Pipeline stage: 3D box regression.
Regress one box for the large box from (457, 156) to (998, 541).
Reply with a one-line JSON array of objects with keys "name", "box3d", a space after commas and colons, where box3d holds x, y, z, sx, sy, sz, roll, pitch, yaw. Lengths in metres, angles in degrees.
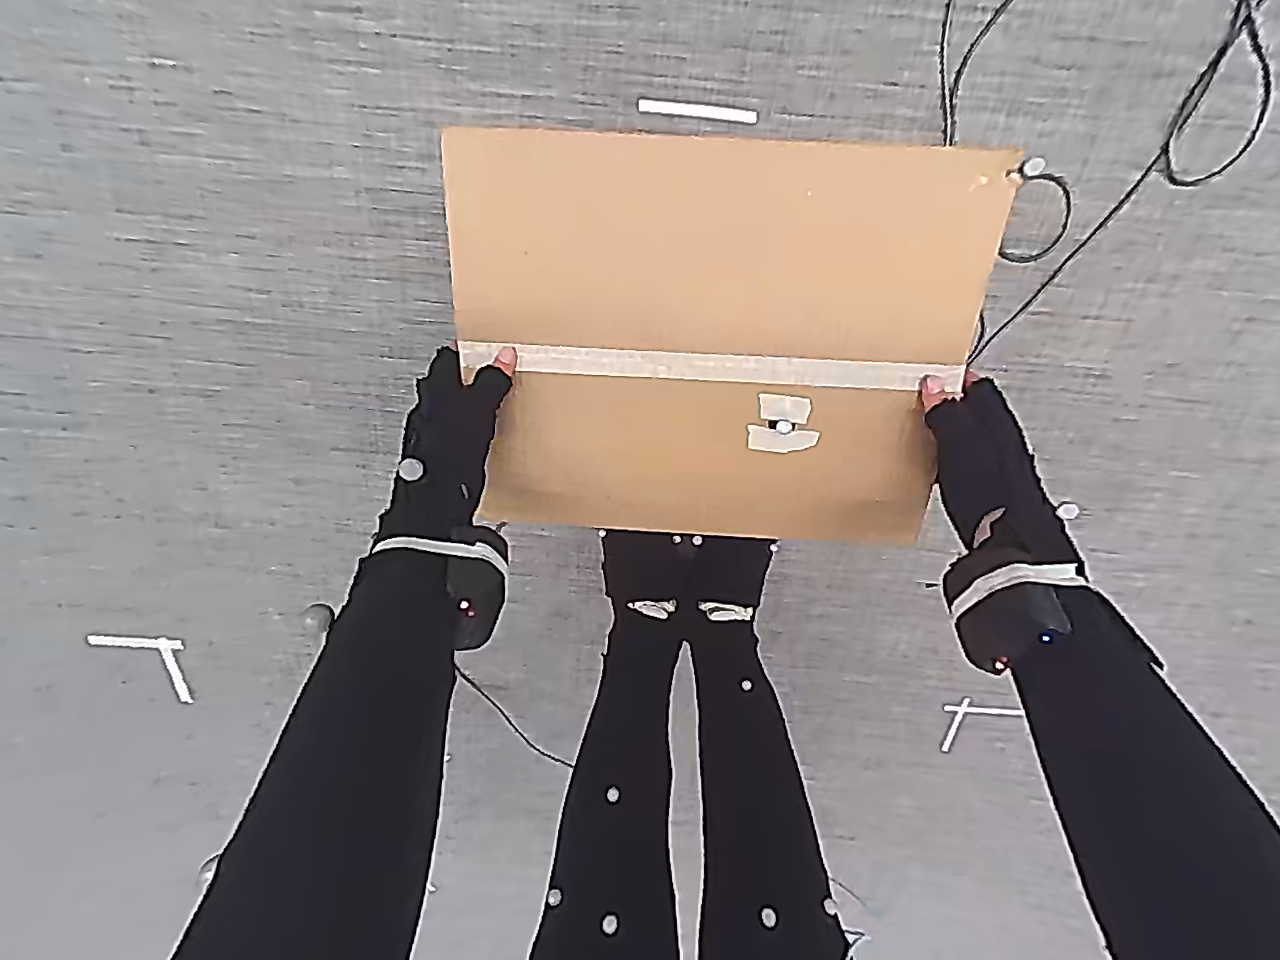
[{"name": "large box", "box3d": [0.062, -0.147, 0.589, 0.408, 0.320, 0.320, 3, 114, 1]}]
